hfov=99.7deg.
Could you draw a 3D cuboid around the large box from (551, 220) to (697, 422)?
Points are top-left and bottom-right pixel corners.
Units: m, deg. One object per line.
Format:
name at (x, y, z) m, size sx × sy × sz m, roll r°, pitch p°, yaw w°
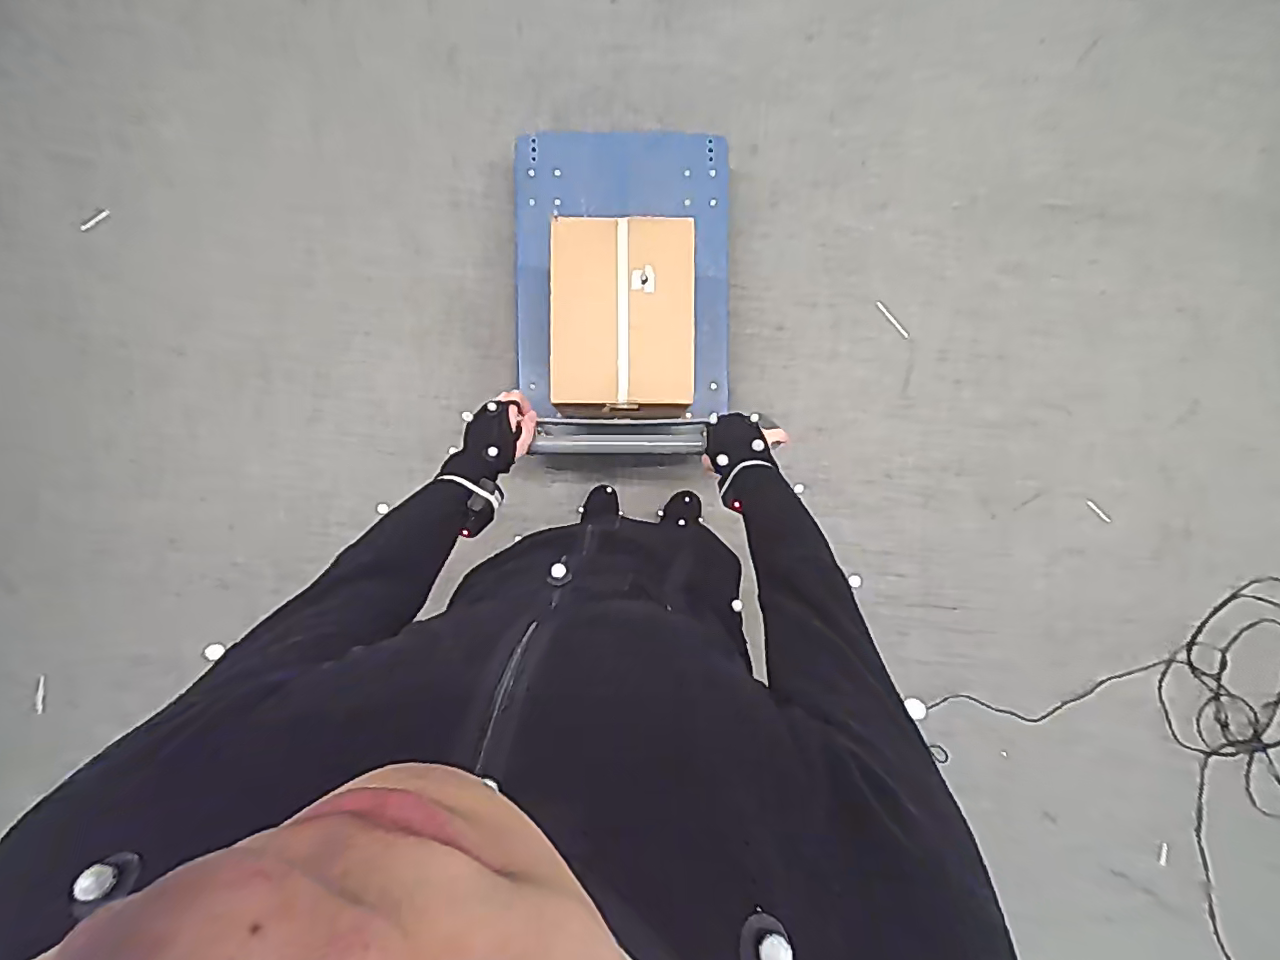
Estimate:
large box at (-0.036, -0.358, 1.311) m, size 0.320 × 0.320 × 0.408 m, roll 0°, pitch 89°, yaw -1°
